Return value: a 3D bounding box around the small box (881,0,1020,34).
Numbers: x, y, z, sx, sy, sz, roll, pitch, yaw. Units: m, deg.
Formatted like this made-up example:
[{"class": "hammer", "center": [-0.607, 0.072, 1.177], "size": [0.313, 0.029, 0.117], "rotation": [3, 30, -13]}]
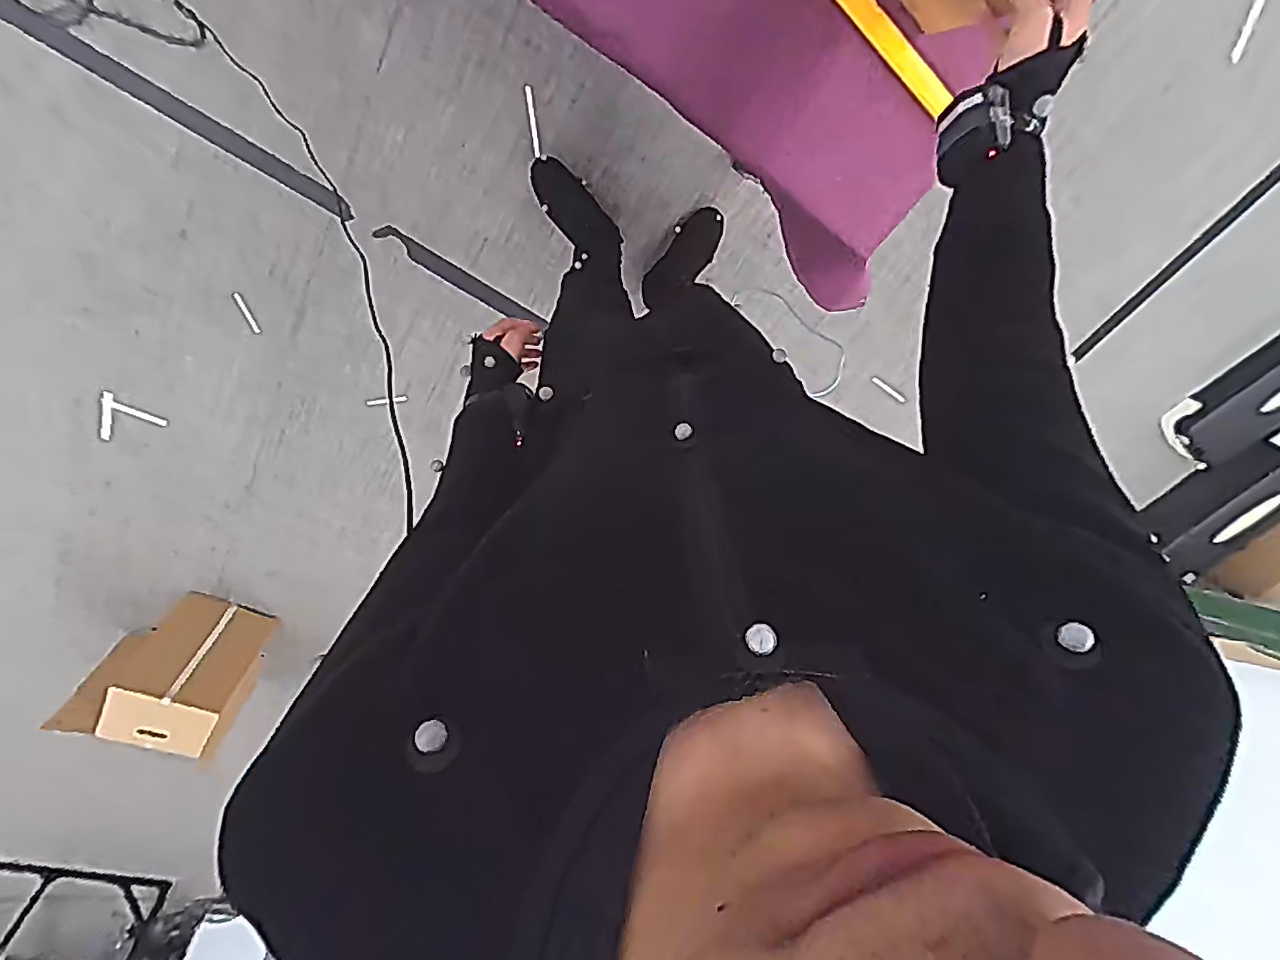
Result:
[{"class": "small box", "center": [0.308, -0.561, 0.501], "size": [0.179, 0.176, 0.168], "rotation": [31, 117, -24]}]
